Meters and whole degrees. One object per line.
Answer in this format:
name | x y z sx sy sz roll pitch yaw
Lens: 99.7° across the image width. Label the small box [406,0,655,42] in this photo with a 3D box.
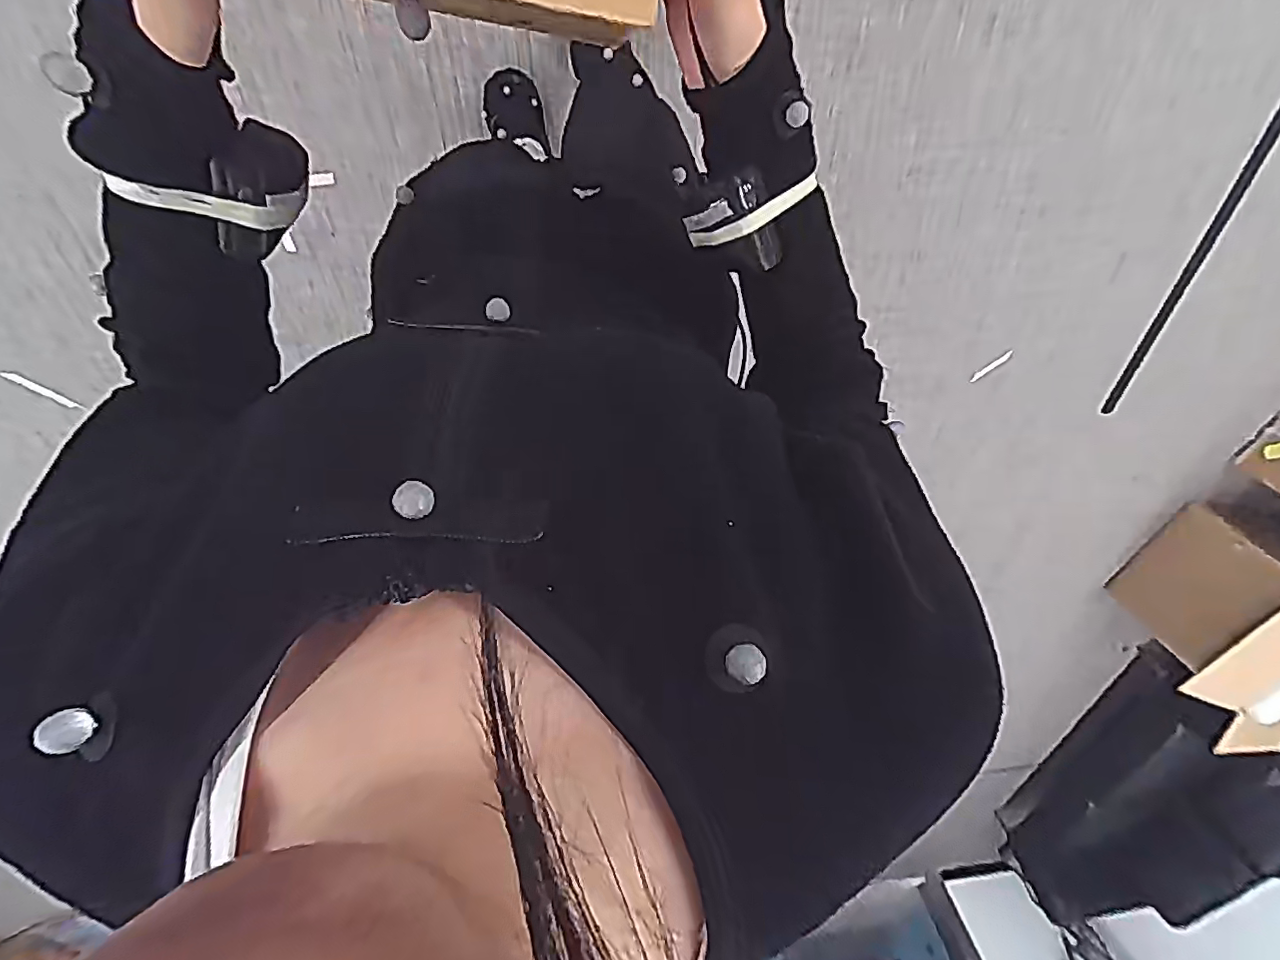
small box | -0.068 -0.294 0.206 0.168 0.176 0.179 3 124 -10
